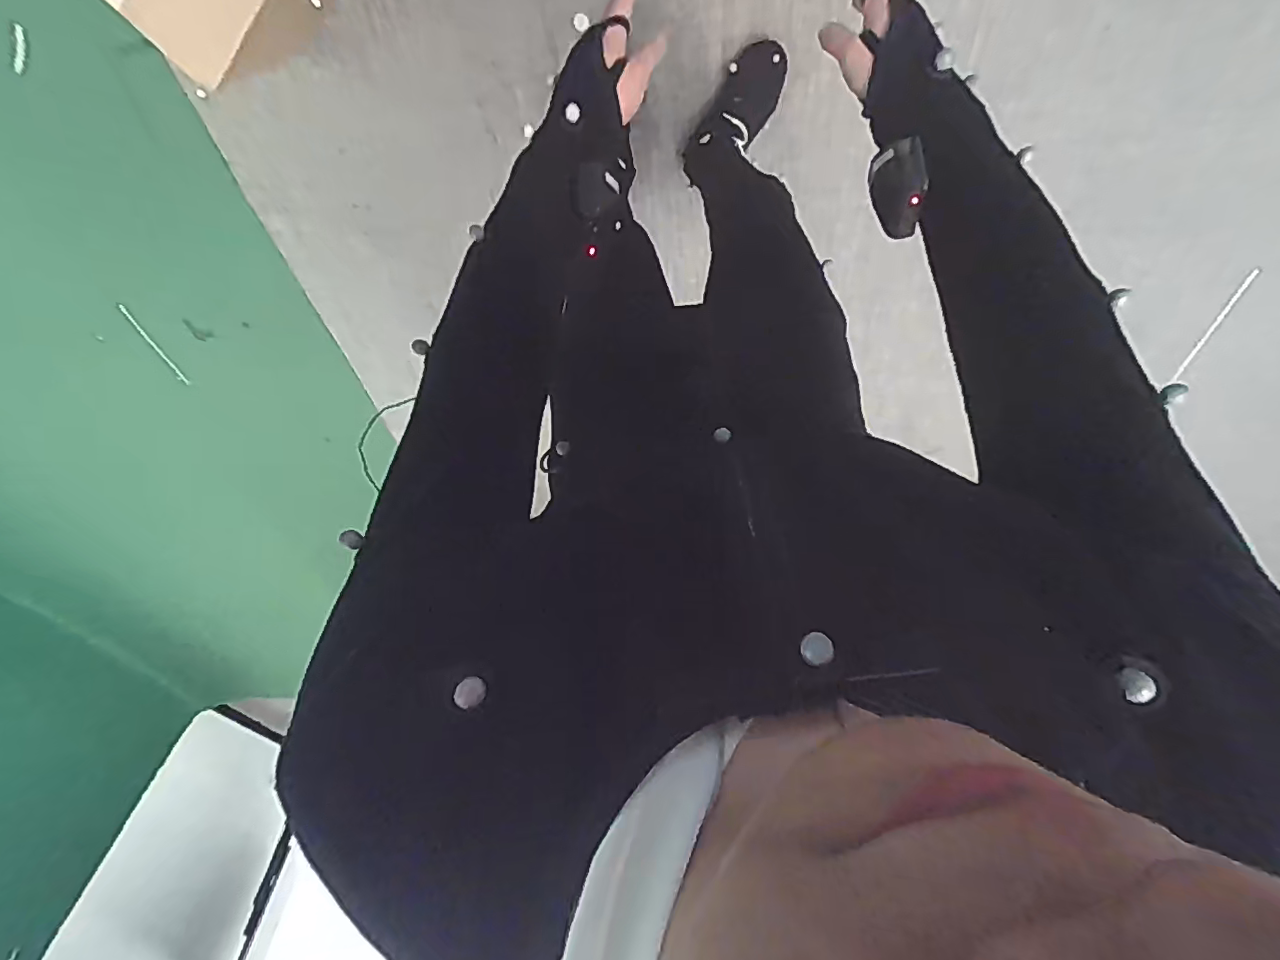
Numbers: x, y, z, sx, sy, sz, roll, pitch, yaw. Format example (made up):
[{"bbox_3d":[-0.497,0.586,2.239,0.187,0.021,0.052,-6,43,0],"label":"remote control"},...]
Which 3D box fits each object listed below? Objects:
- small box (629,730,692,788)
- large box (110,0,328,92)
[{"bbox_3d":[0.082,1.064,2.047,0.179,0.176,0.168,28,134,-22],"label":"small box"},{"bbox_3d":[-0.692,-0.963,0.883,0.408,0.320,0.320,-24,129,31],"label":"large box"}]
